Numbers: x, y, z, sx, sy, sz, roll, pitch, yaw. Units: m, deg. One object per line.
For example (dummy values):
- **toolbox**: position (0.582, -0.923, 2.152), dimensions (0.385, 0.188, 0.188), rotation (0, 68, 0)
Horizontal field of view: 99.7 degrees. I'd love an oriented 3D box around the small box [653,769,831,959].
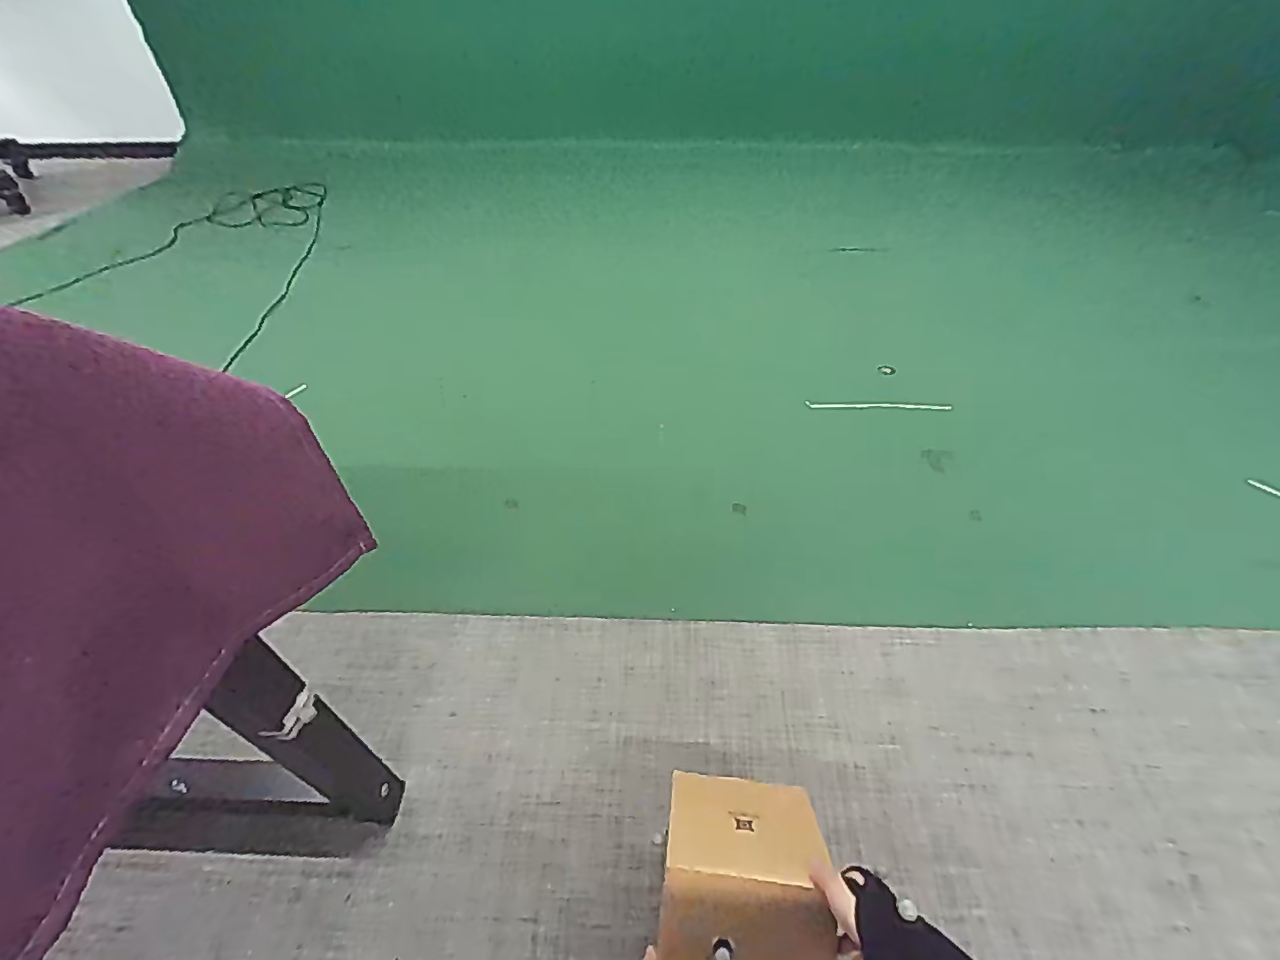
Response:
- **small box**: position (0.104, 0.457, 0.599), dimensions (0.168, 0.176, 0.179), rotation (4, 0, 5)
